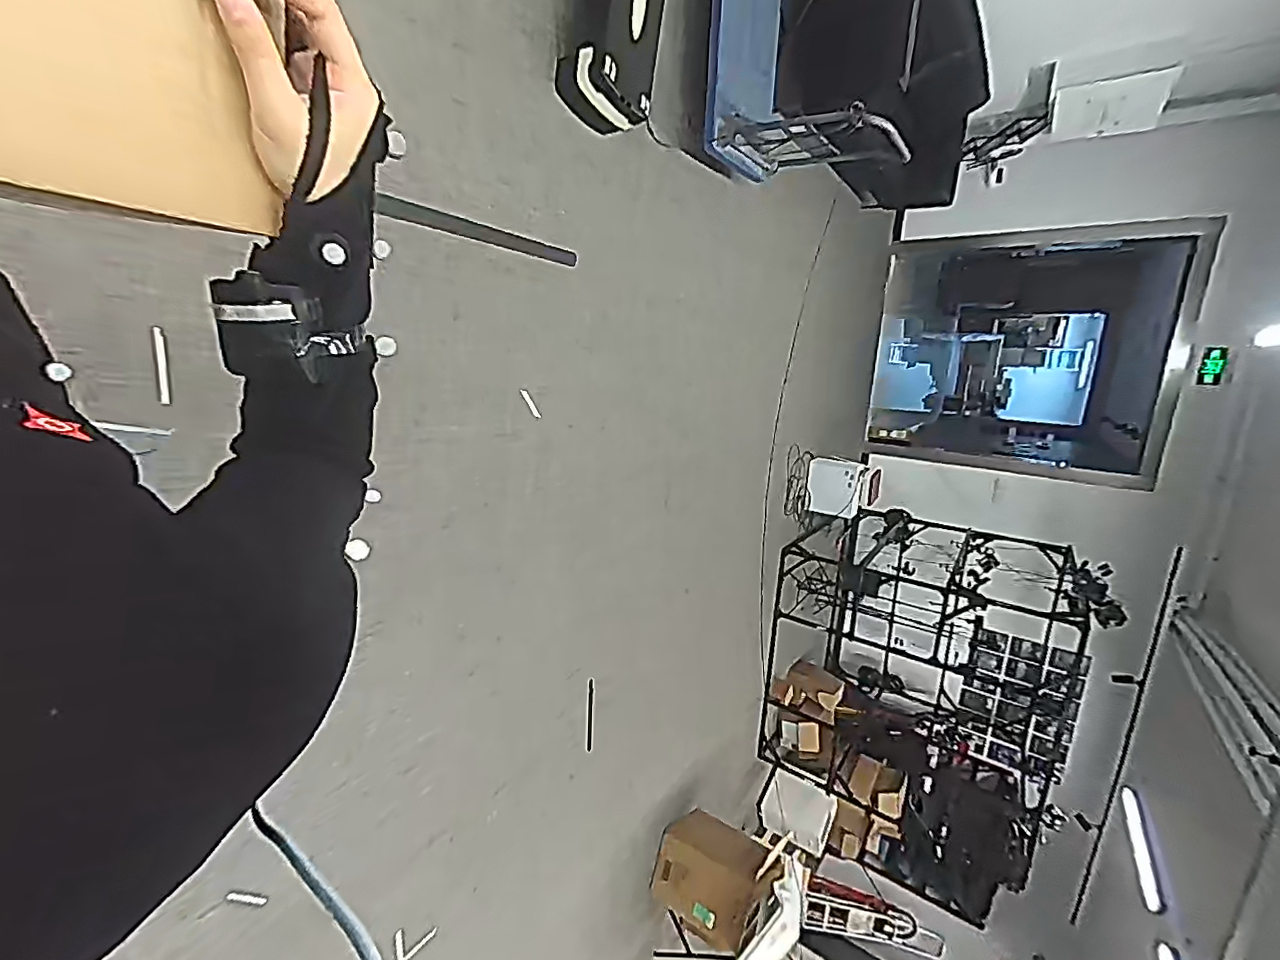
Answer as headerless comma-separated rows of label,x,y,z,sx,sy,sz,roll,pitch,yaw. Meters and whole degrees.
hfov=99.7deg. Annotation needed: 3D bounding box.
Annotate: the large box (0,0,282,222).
large box,-0.421,-0.305,0.185,0.408,0.320,0.320,-18,123,-59
